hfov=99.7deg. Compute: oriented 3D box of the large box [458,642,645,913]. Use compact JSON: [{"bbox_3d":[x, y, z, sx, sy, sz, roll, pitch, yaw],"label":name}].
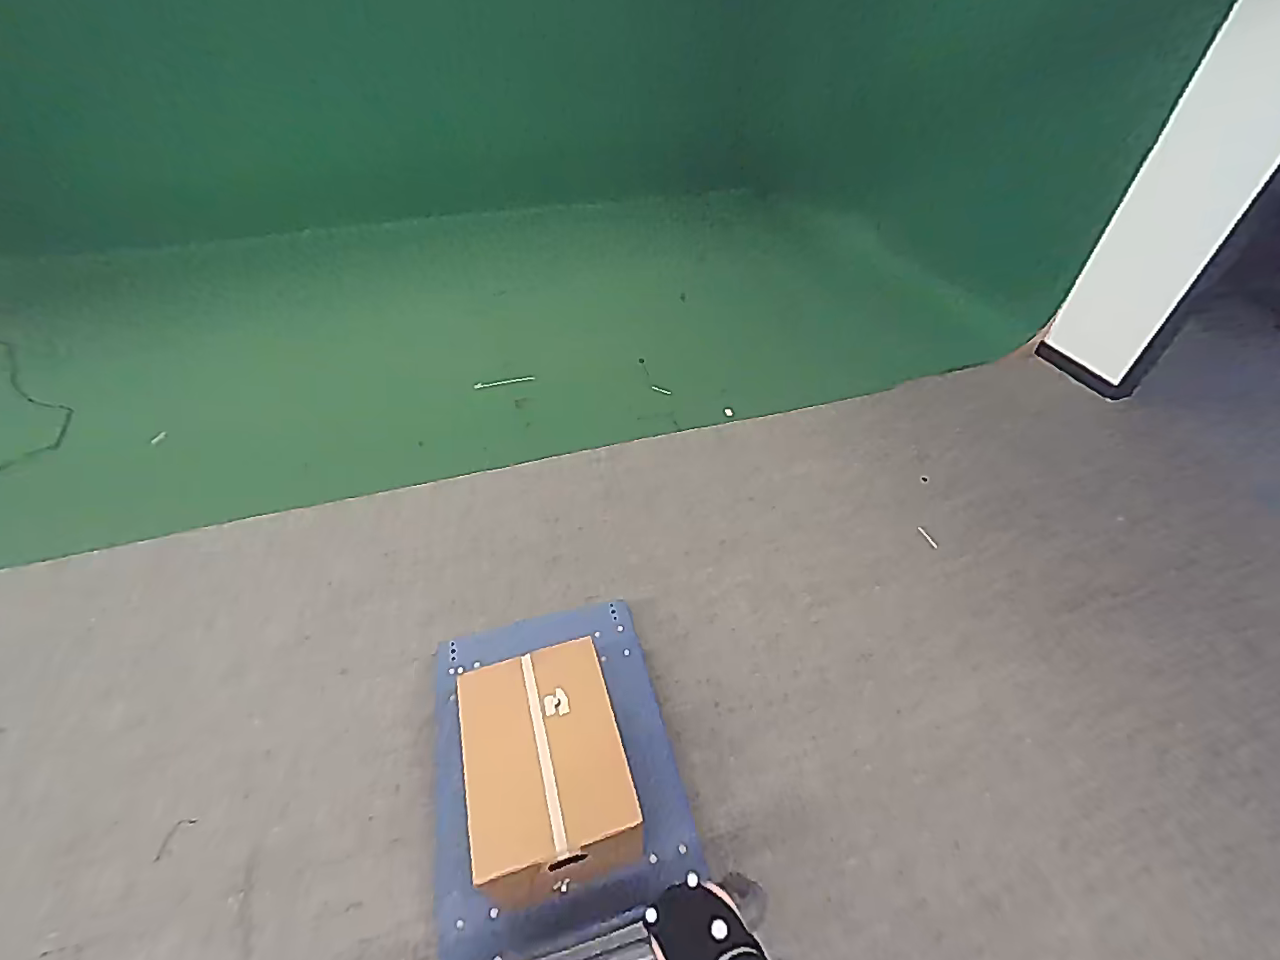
[{"bbox_3d":[-0.198,0.654,1.215,0.320,0.320,0.408,-13,45,-13],"label":"large box"}]
